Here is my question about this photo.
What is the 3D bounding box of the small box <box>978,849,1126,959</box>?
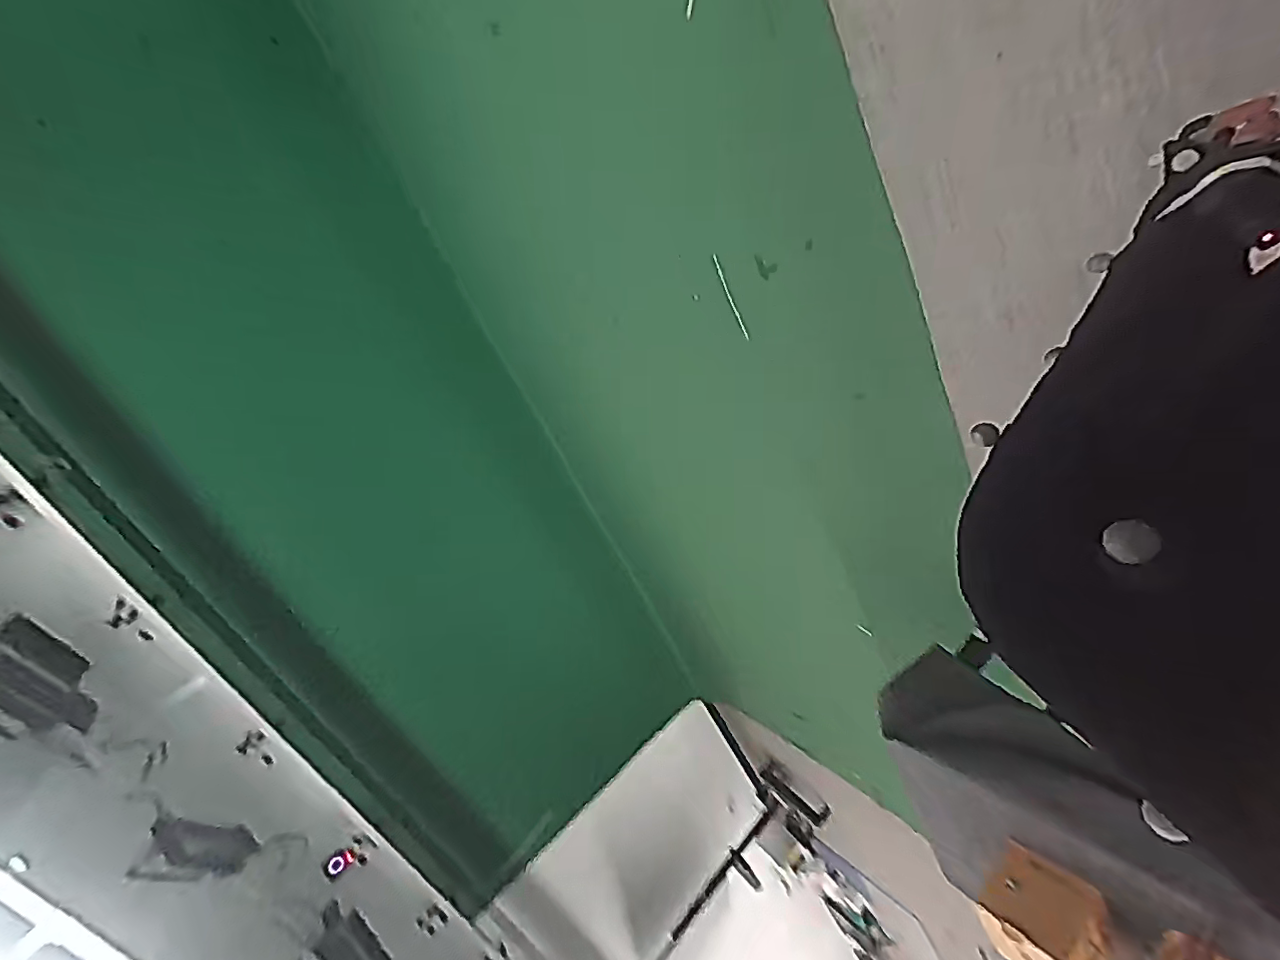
[{"bbox_3d":[0.819,0.894,1.076,0.179,0.176,0.168,59,157,-16],"label":"small box"}]
